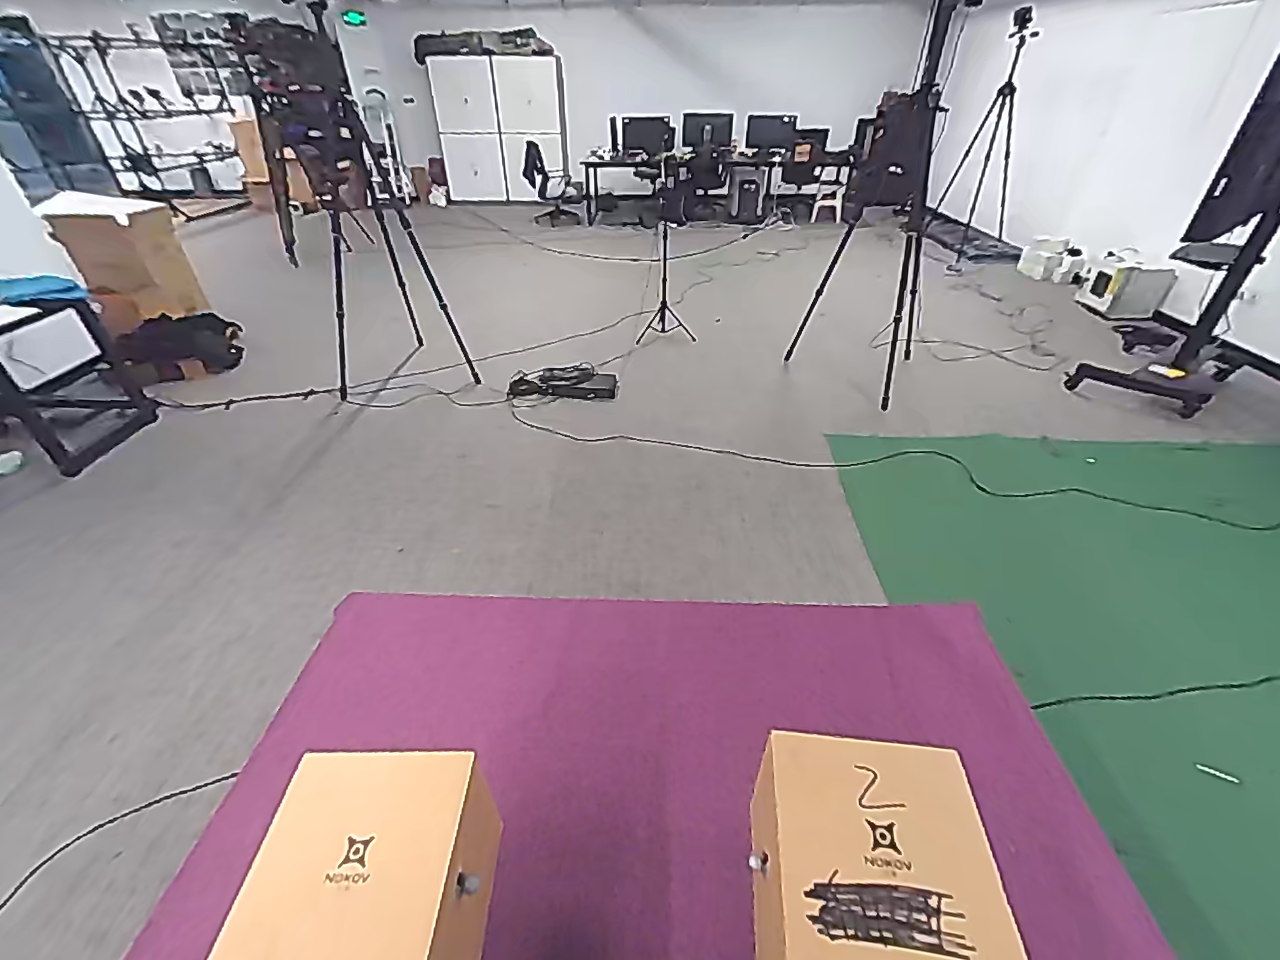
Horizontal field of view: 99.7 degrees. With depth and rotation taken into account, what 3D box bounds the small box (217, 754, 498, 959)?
[{"bbox_3d":[-0.240,0.386,0.513,0.168,0.176,0.179,-1,39,0],"label":"small box"}]
